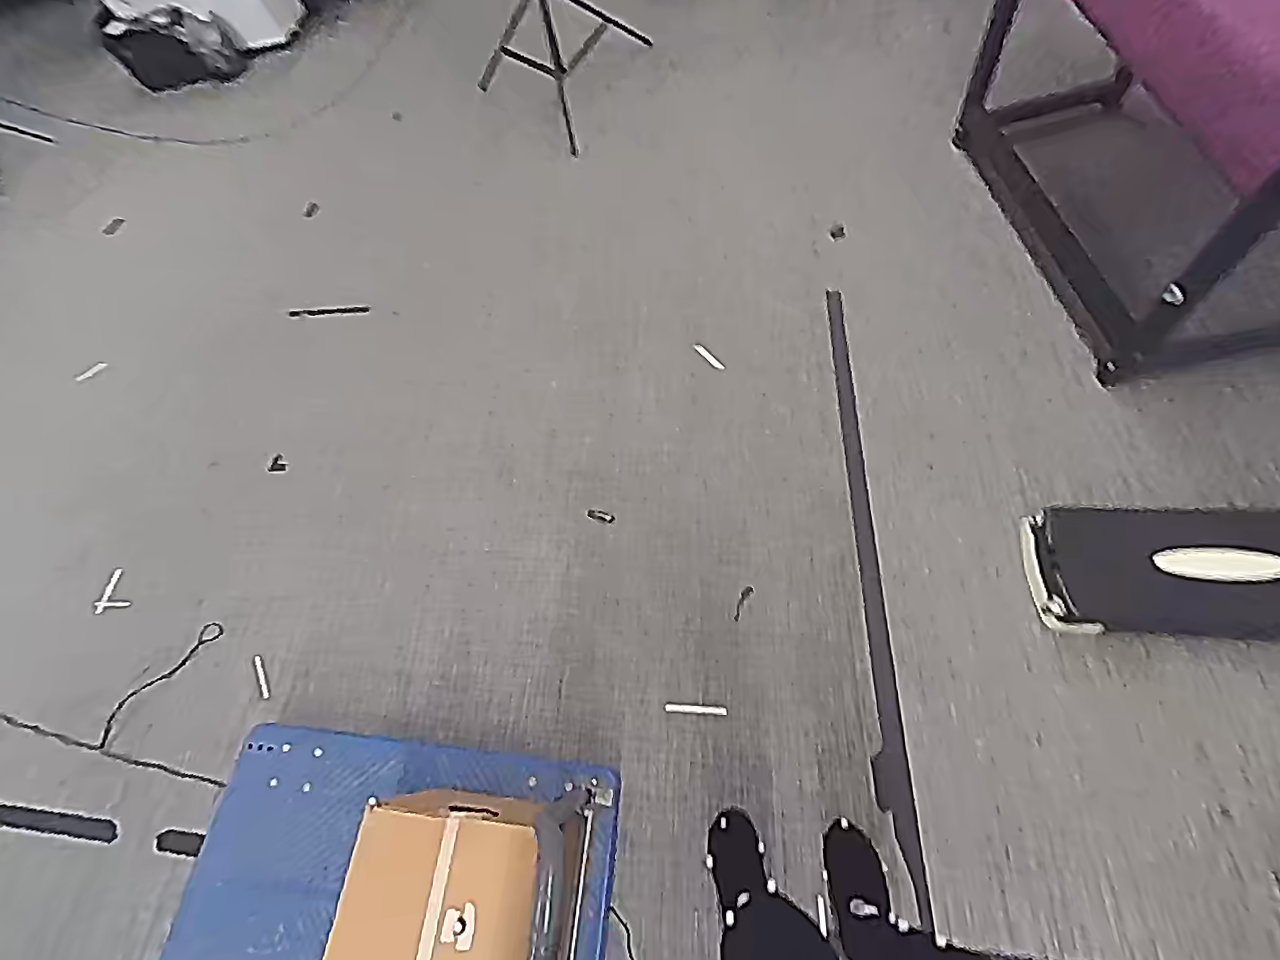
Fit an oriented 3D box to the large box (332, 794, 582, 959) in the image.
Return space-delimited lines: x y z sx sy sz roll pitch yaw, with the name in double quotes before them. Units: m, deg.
"large box" -0.301 0.798 0.933 0.320 0.320 0.408 4 63 7
